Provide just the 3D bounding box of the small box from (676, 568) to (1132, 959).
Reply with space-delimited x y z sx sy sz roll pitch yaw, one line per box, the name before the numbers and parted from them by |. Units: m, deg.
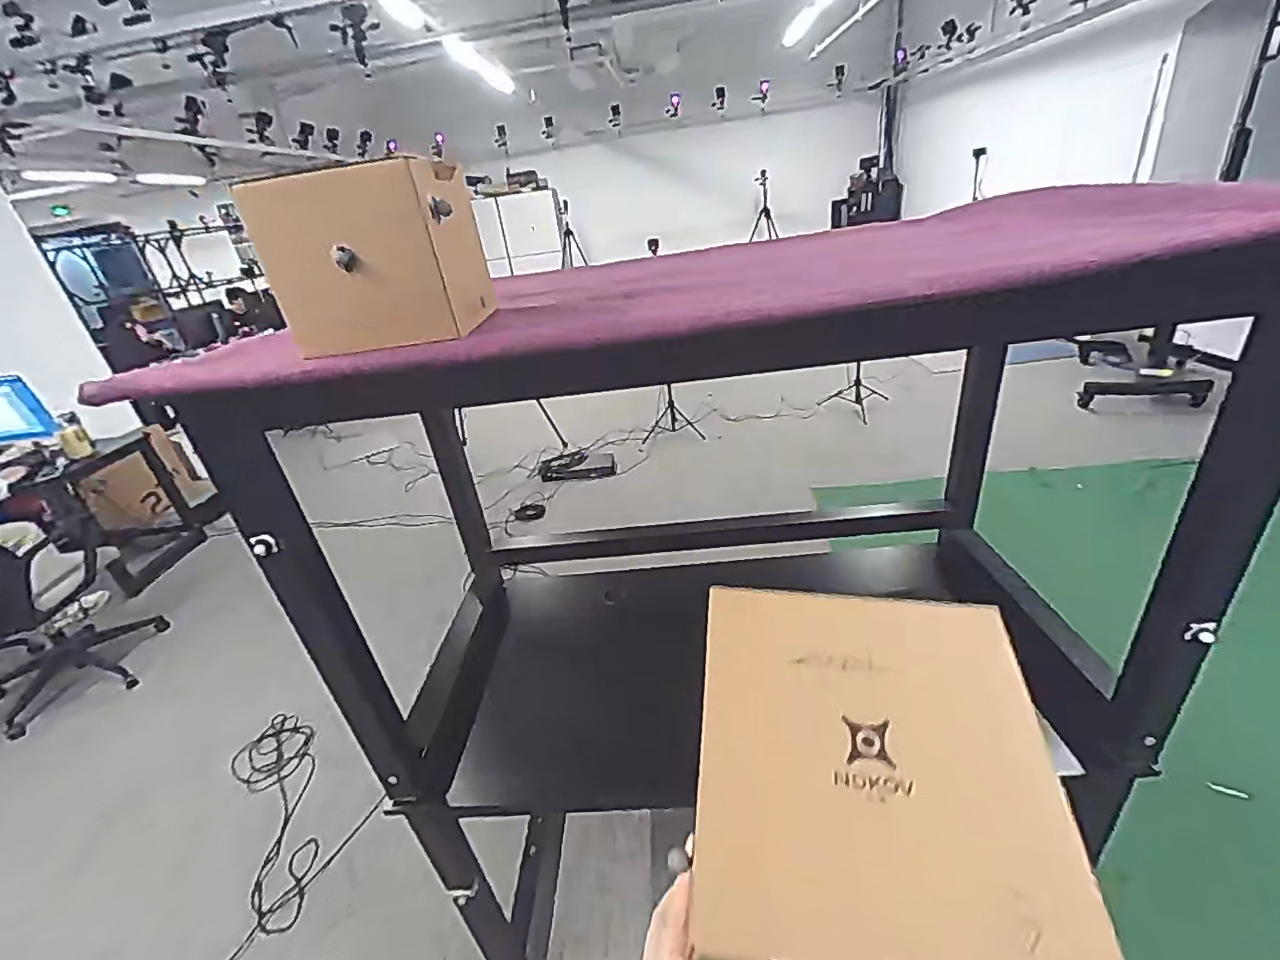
small box | 0.113 0.174 0.311 0.168 0.176 0.179 3 46 8
